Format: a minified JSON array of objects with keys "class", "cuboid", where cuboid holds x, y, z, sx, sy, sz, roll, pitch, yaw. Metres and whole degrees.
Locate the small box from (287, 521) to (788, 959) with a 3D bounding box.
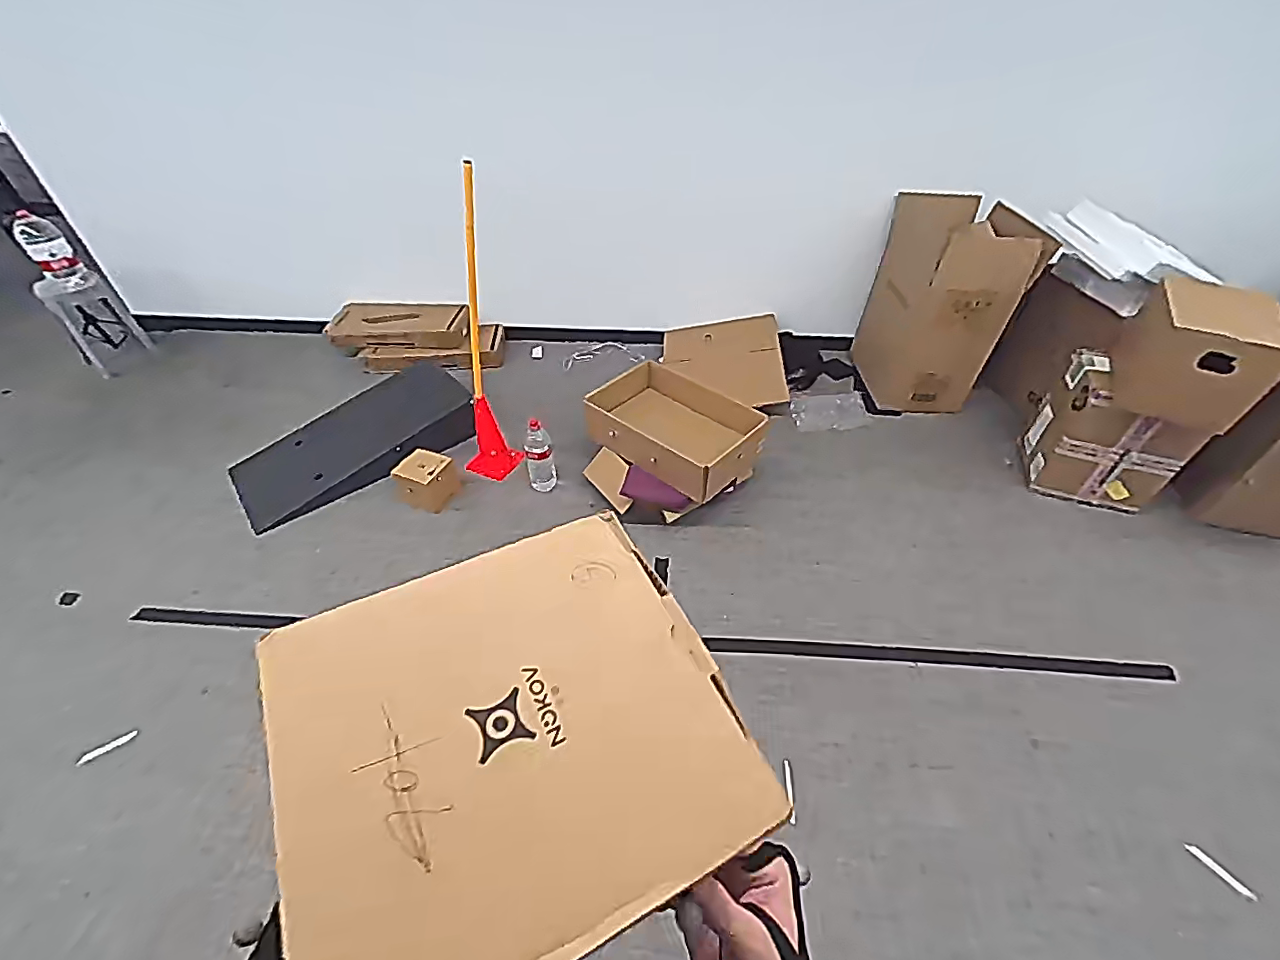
[{"class":"small box","cuboid":[-0.056,0.157,0.296,0.179,0.176,0.168,-21,53,-22]}]
